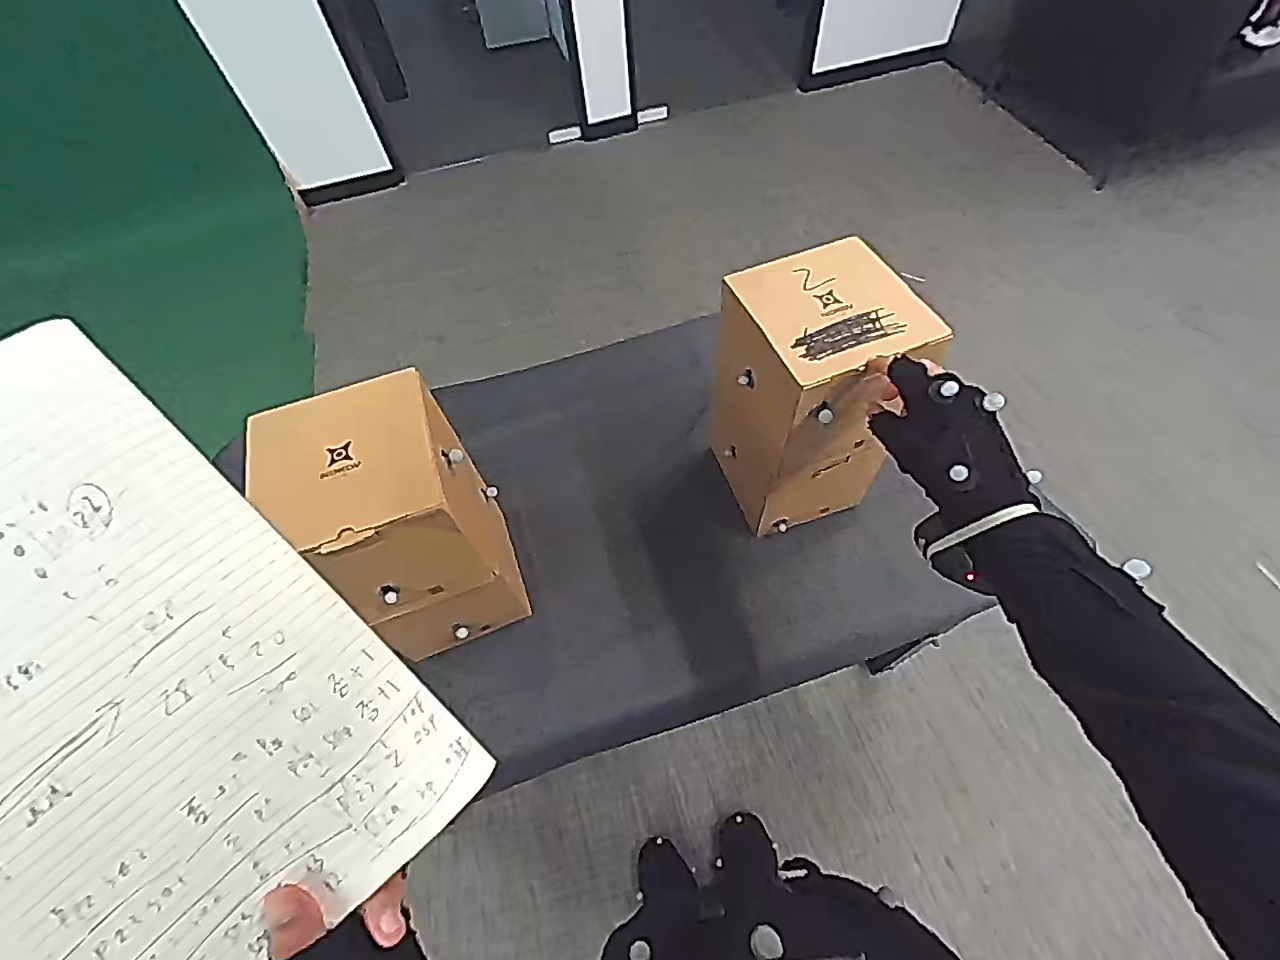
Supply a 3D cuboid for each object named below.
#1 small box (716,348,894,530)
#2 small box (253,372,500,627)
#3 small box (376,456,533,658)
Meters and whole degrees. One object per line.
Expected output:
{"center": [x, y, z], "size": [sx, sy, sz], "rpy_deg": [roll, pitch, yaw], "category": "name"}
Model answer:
{"center": [0.216, -0.048, 0.761], "size": [0.168, 0.176, 0.179], "rpy_deg": [-17, 57, -6], "category": "small box"}
{"center": [-0.260, 0.025, 0.560], "size": [0.168, 0.176, 0.179], "rpy_deg": [-19, 59, -8], "category": "small box"}
{"center": [-0.253, 0.104, 0.701], "size": [0.168, 0.176, 0.179], "rpy_deg": [-21, 59, -8], "category": "small box"}
